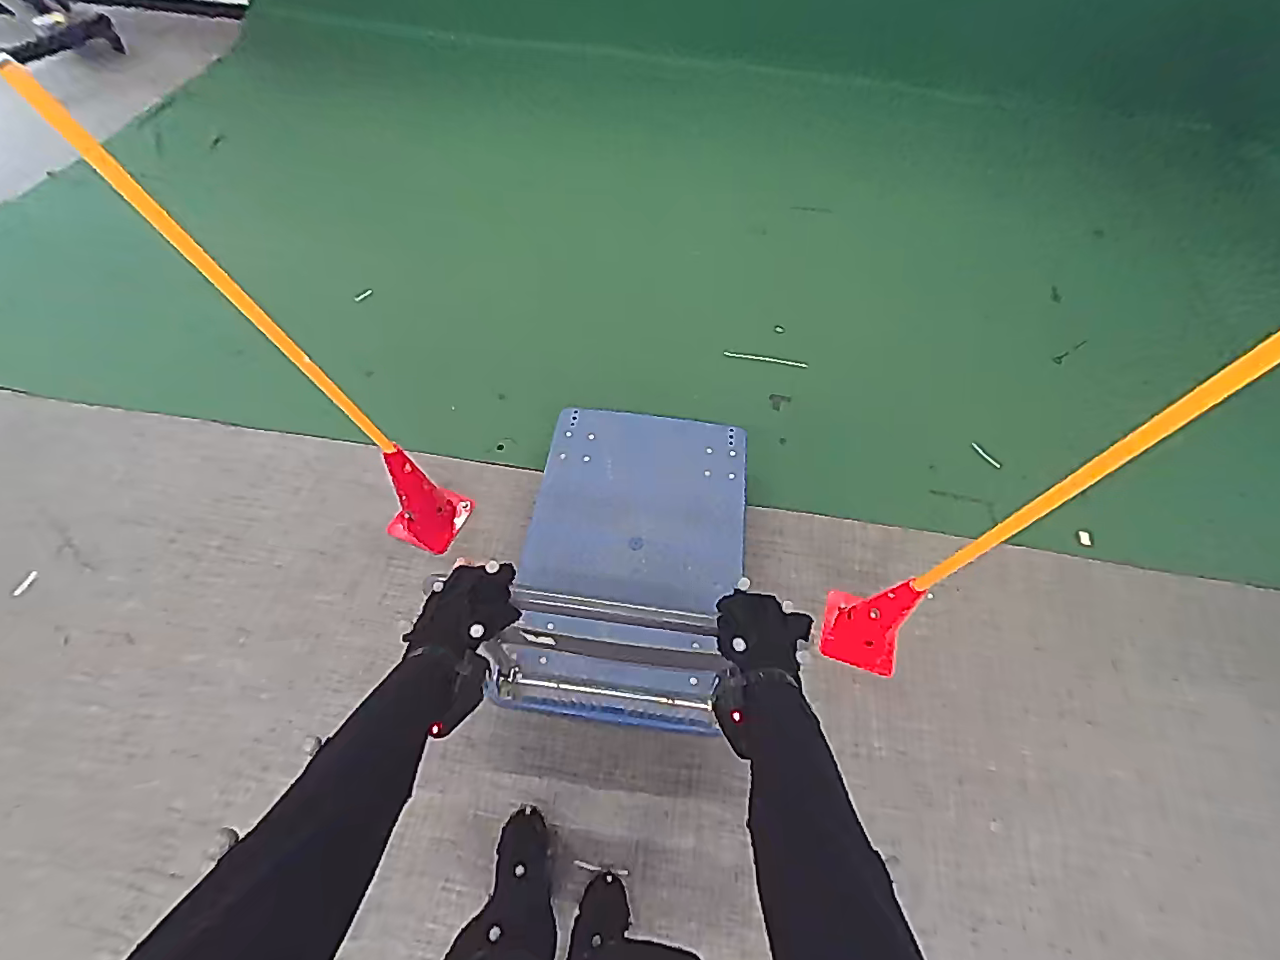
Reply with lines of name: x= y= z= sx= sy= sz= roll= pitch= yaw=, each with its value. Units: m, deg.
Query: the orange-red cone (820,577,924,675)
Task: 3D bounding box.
orange-red cone: x=0.612 y=0.328 z=1.349 sx=0.198 sy=0.360 sz=0.199 roll=18 pitch=60 yaw=10
